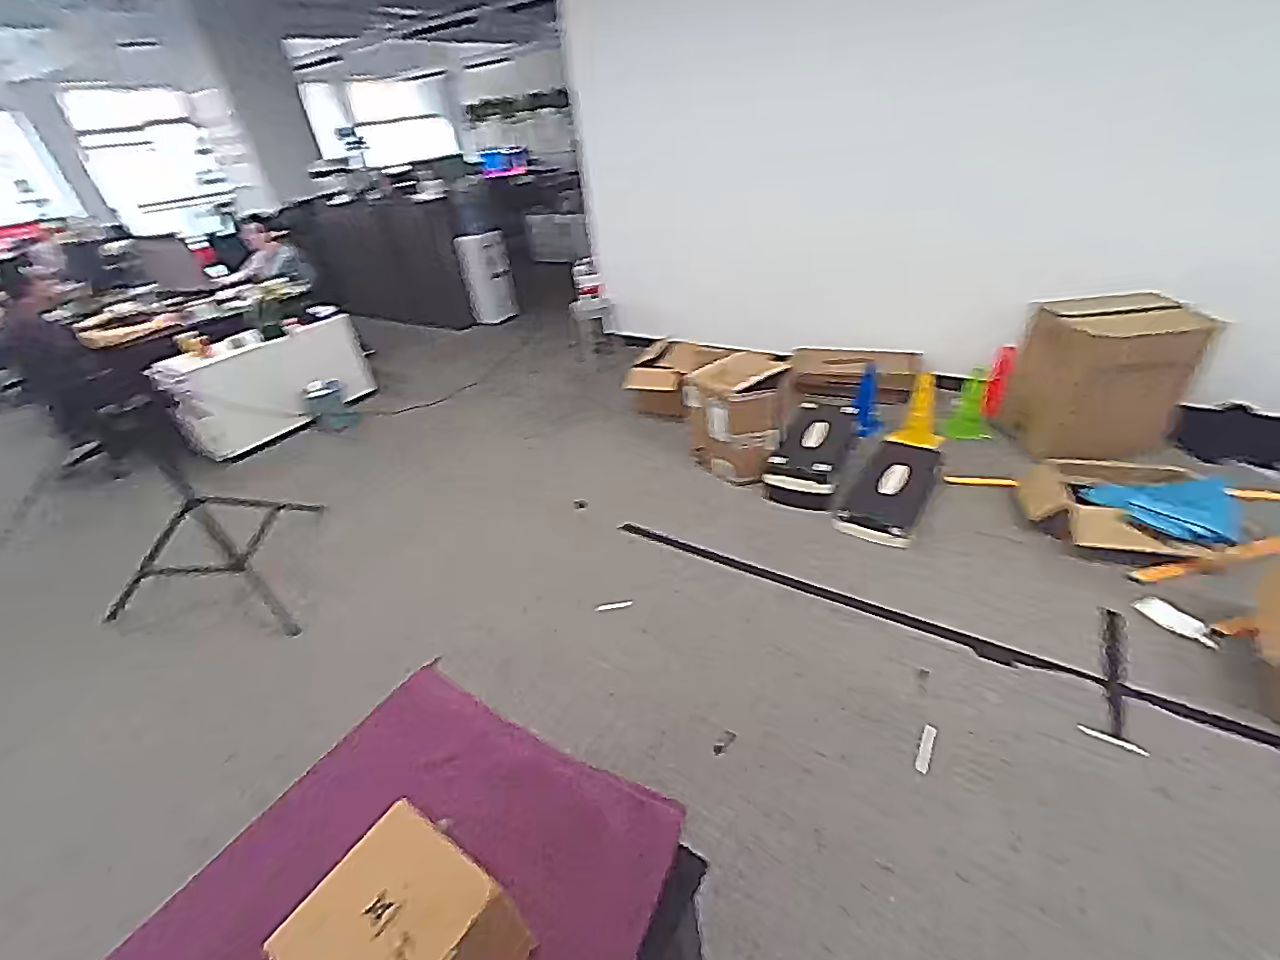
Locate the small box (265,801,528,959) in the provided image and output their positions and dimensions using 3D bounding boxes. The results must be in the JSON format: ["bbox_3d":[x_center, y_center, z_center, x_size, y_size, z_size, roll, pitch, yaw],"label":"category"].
[{"bbox_3d":[-0.252,0.507,0.591,0.179,0.176,0.168,15,40,31],"label":"small box"}]
